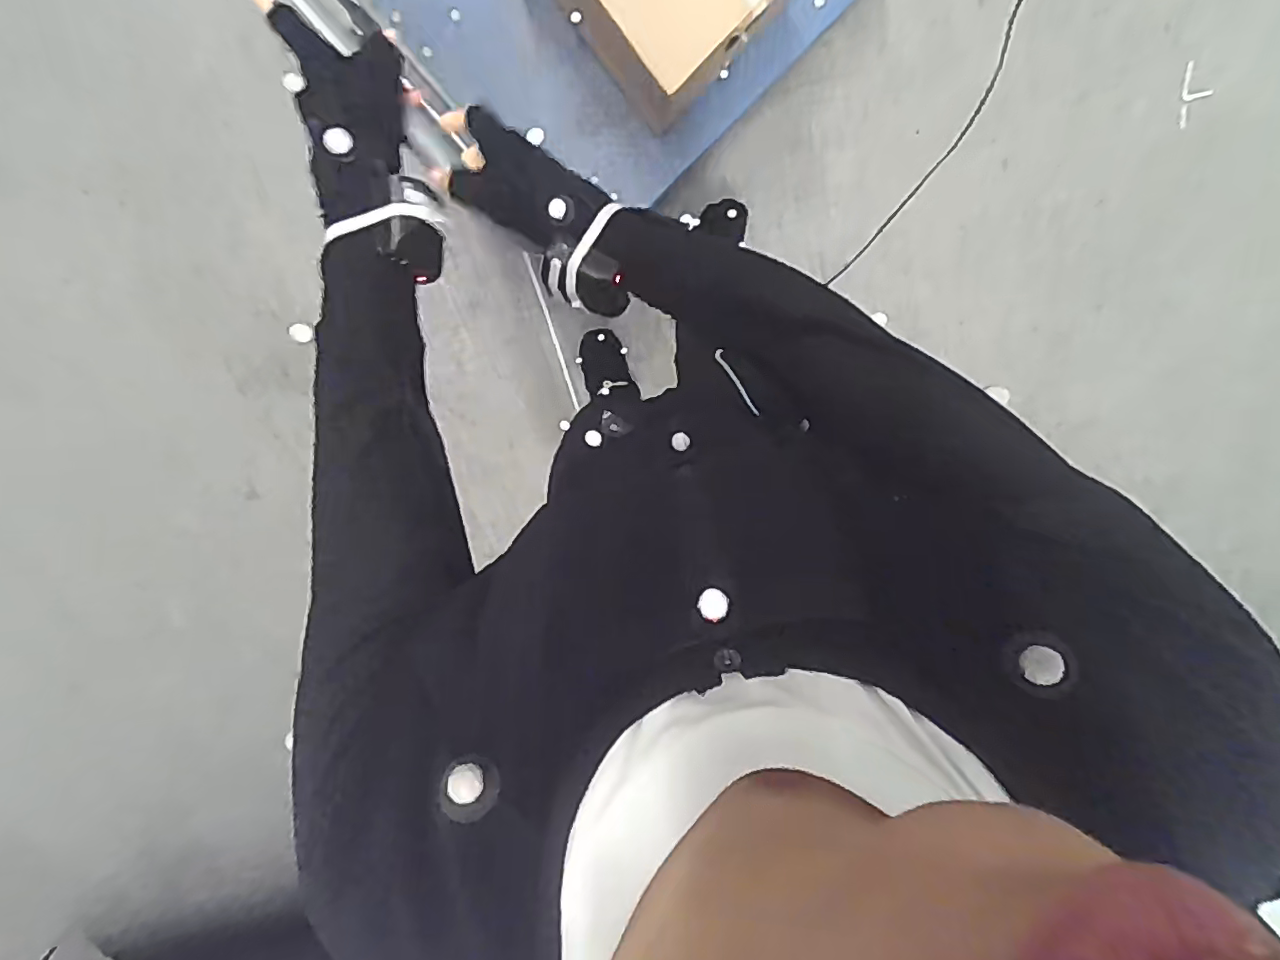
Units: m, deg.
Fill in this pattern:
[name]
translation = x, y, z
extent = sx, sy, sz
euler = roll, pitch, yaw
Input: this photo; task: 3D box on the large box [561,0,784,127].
[large box]
translation = 0.018, -0.844, 0.813
extent = 0.320, 0.320, 0.408
euler = -40, 107, 14
